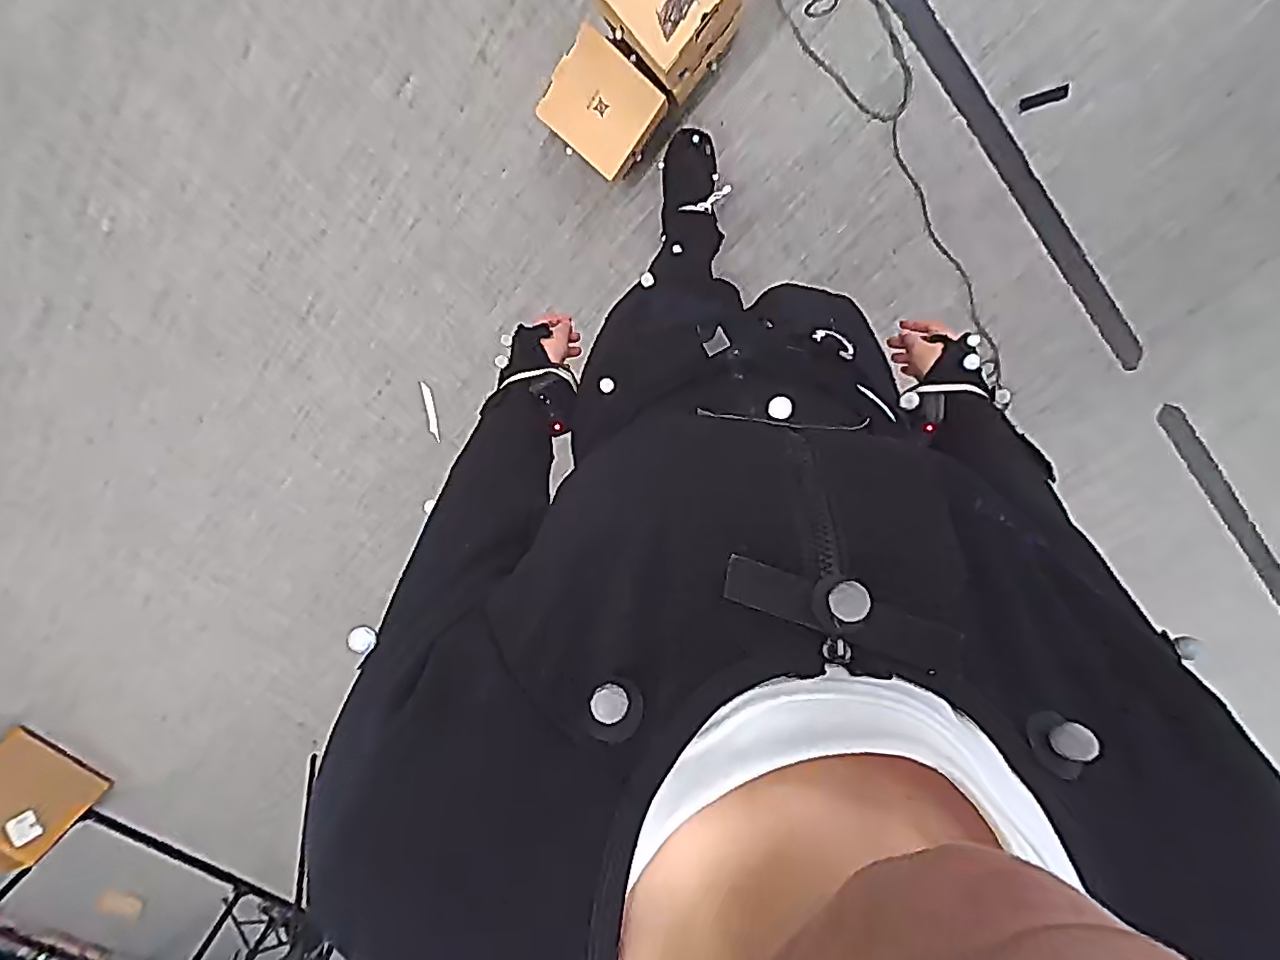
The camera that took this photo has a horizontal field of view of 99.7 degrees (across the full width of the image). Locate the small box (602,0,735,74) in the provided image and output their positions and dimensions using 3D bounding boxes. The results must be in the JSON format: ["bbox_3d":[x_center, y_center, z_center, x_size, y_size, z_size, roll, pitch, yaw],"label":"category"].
[{"bbox_3d":[0.037,-0.731,0.780,0.179,0.176,0.168,42,114,-16],"label":"small box"}]
